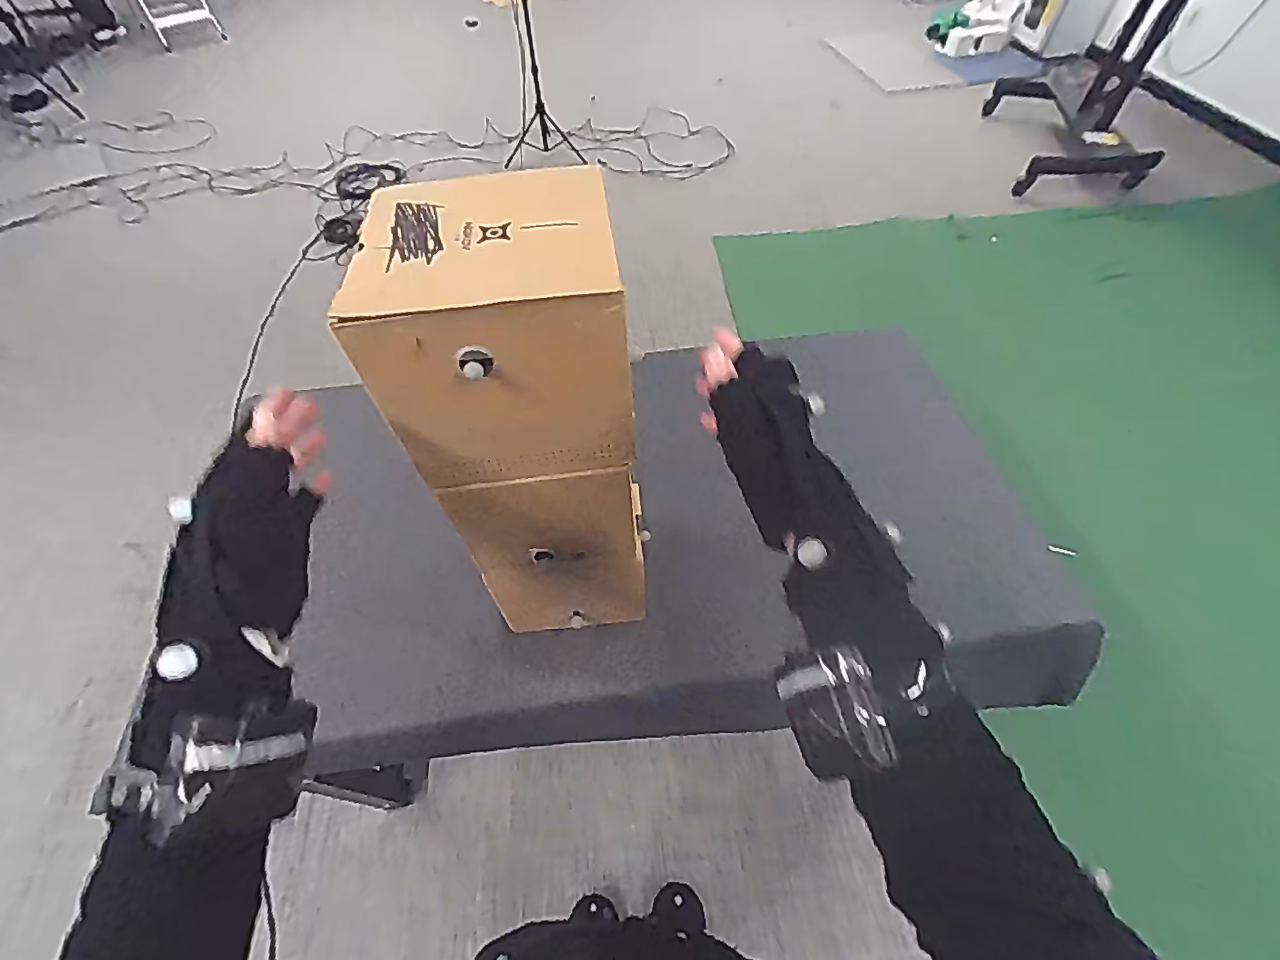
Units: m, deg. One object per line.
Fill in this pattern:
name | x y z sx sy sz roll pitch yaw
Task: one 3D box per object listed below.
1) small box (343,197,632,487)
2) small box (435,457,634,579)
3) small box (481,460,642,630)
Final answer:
small box | -0.104 -0.105 0.448 0.179 0.176 0.168 -7 54 -3
small box | -0.099 -0.019 0.568 0.168 0.176 0.179 -8 55 -3
small box | -0.093 0.080 0.697 0.179 0.176 0.168 -5 53 -3
